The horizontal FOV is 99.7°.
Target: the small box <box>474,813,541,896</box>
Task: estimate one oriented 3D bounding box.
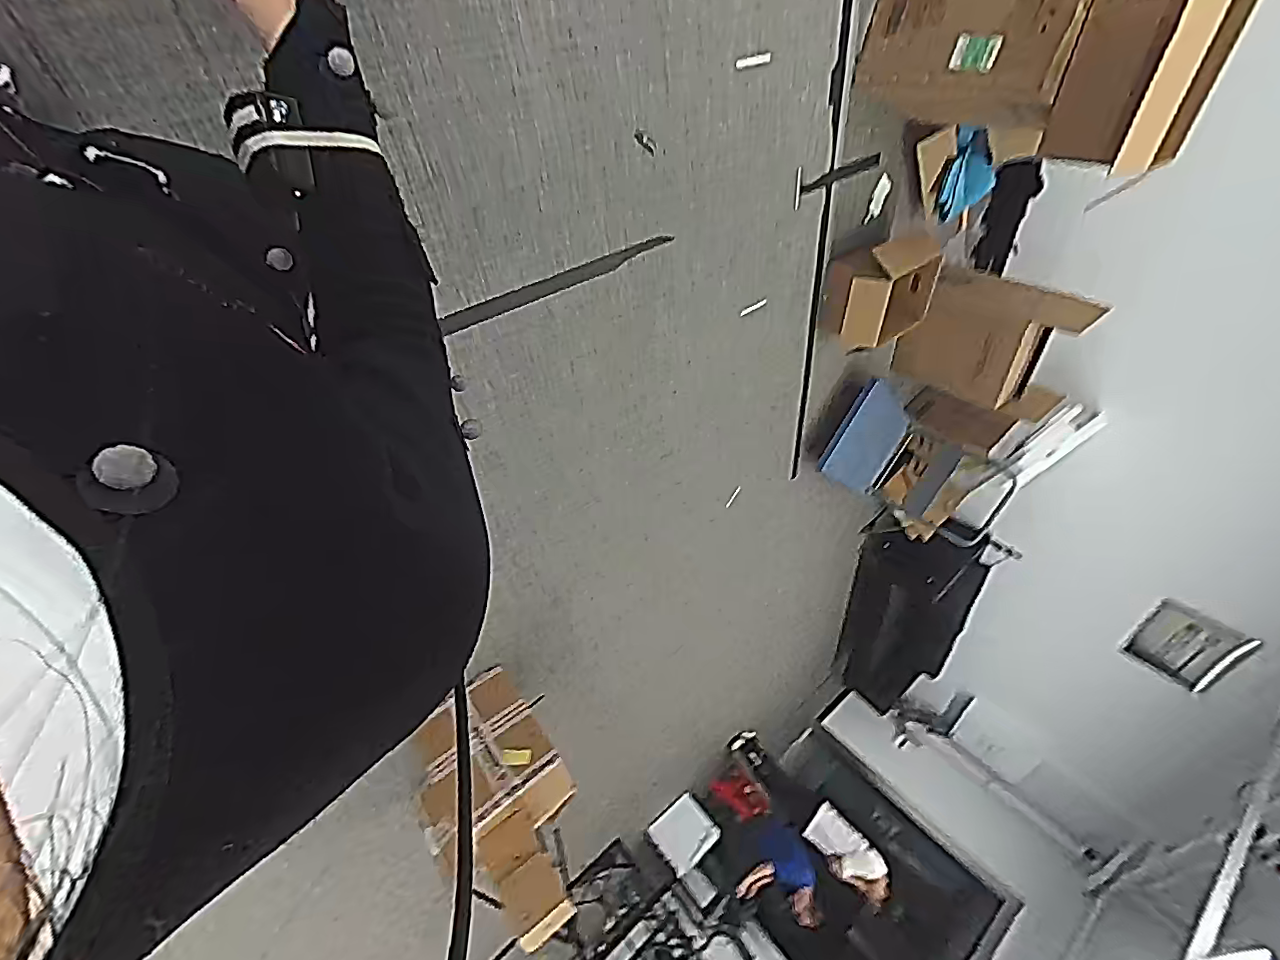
[{"bbox_3d":[-0.441,1.288,1.843,0.179,0.176,0.168,-26,133,-27],"label":"small box"}]

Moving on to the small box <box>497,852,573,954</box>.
[{"bbox_3d":[-0.340,1.343,1.723,0.179,0.176,0.168,-29,134,-26],"label":"small box"}]
